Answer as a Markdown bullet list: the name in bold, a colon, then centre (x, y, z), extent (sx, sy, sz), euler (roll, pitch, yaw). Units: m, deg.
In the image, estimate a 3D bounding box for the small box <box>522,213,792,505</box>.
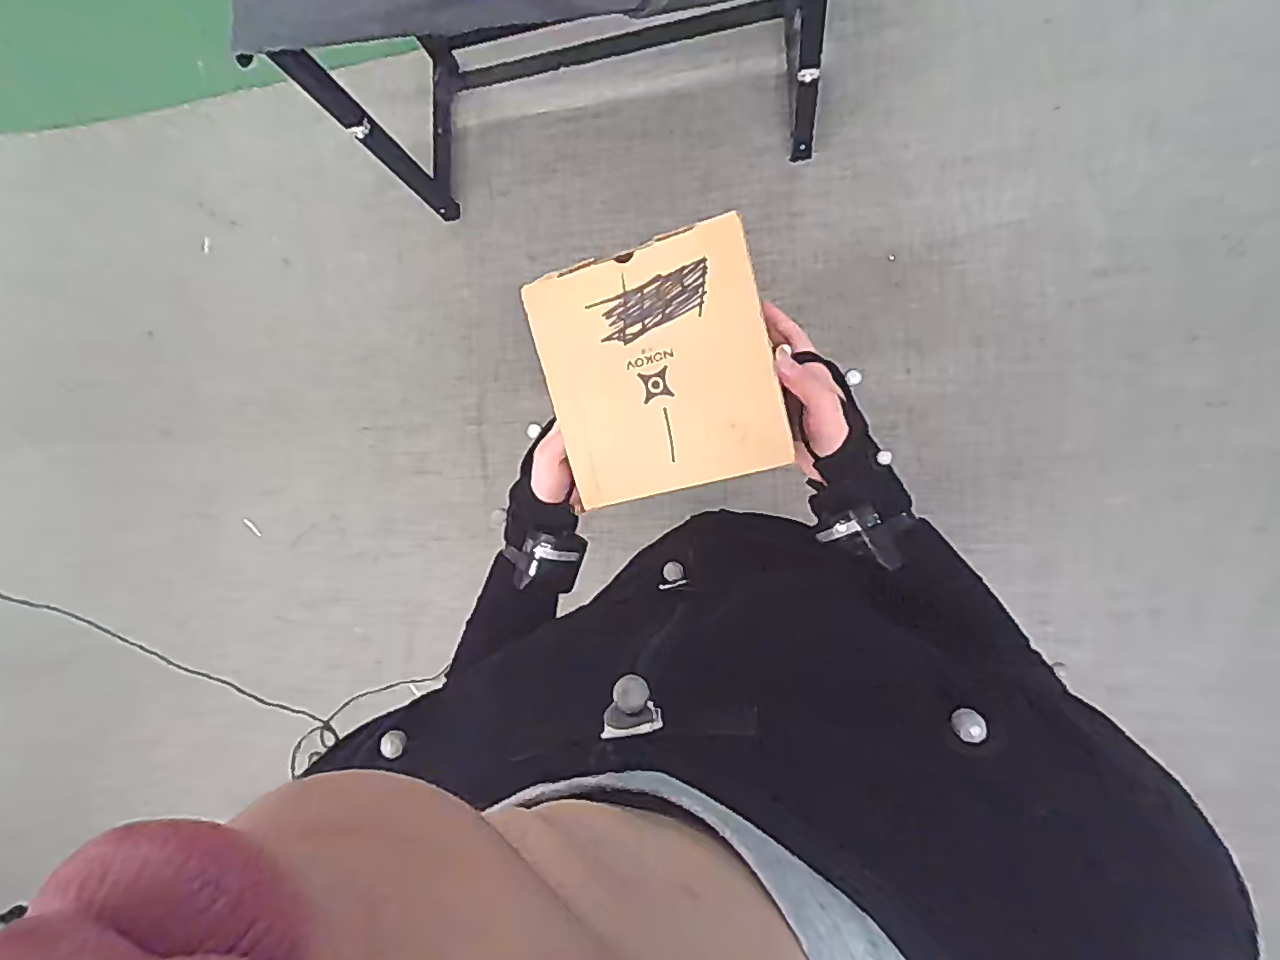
- **small box**: centre (0.027, -0.093, 0.465), extent (0.168, 0.176, 0.179), euler (-13, 98, 16)
